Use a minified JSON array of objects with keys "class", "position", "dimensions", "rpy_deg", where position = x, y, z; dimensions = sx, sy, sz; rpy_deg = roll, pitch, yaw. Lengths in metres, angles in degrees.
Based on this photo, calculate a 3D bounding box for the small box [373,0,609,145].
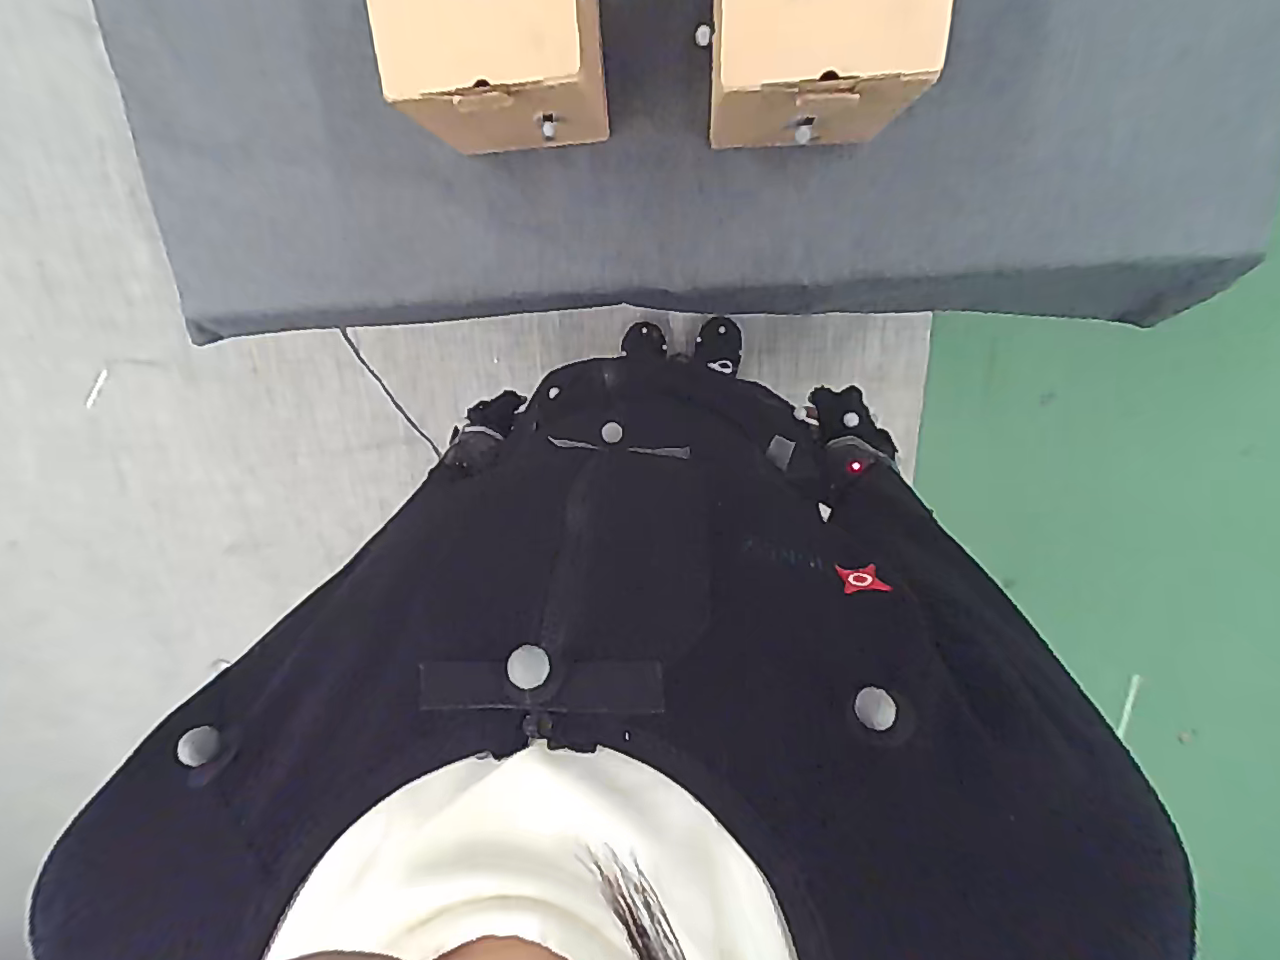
[{"class":"small box","position":[-0.124,-0.423,0.487],"dimensions":[0.168,0.176,0.179],"rpy_deg":[-4,106,5]}]
